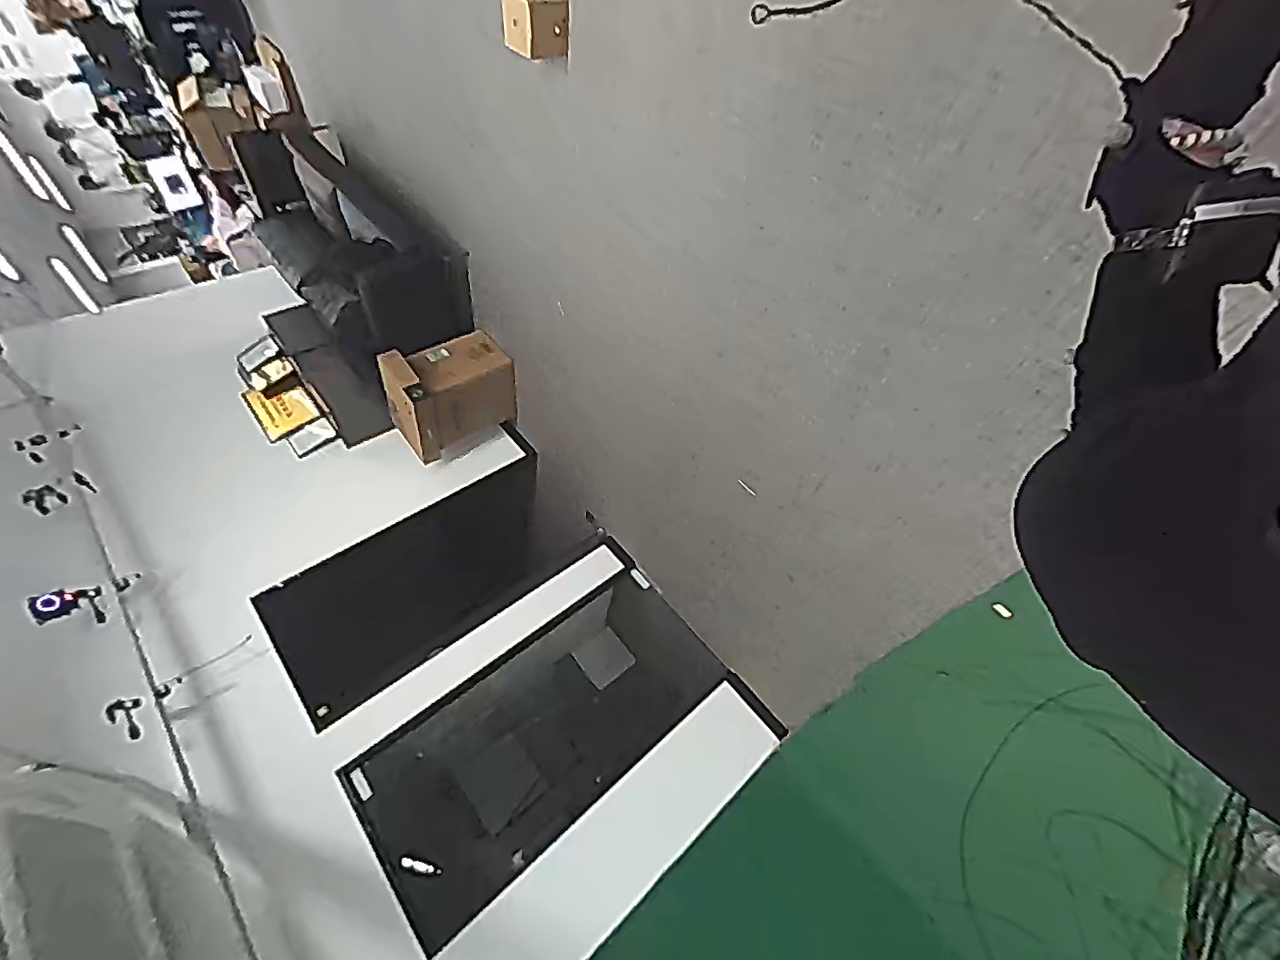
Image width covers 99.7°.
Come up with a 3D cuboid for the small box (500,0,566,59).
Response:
[{"bbox_3d":[-0.386,-1.652,1.951,0.179,0.176,0.168,44,149,23],"label":"small box"}]
